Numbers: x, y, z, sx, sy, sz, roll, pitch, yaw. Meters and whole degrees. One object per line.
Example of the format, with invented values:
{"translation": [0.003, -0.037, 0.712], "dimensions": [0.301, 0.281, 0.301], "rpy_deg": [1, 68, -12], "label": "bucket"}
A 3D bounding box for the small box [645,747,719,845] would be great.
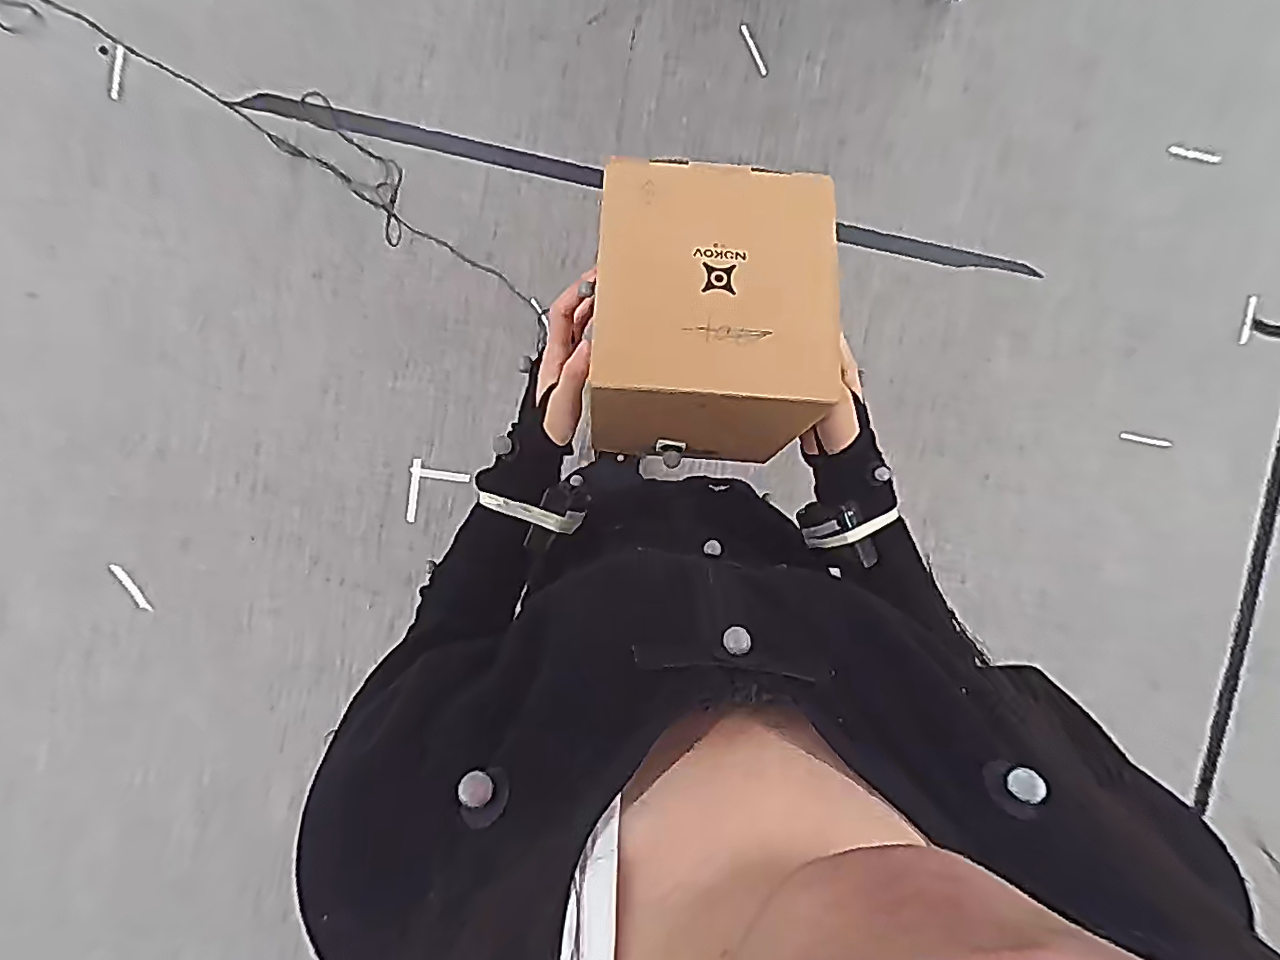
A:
{"translation": [0.110, 0.851, 1.471], "dimensions": [0.179, 0.176, 0.168], "rpy_deg": [-2, 93, -4], "label": "small box"}

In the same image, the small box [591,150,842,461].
{"translation": [0.048, -0.124, 0.440], "dimensions": [0.168, 0.176, 0.179], "rpy_deg": [3, 78, -3], "label": "small box"}
